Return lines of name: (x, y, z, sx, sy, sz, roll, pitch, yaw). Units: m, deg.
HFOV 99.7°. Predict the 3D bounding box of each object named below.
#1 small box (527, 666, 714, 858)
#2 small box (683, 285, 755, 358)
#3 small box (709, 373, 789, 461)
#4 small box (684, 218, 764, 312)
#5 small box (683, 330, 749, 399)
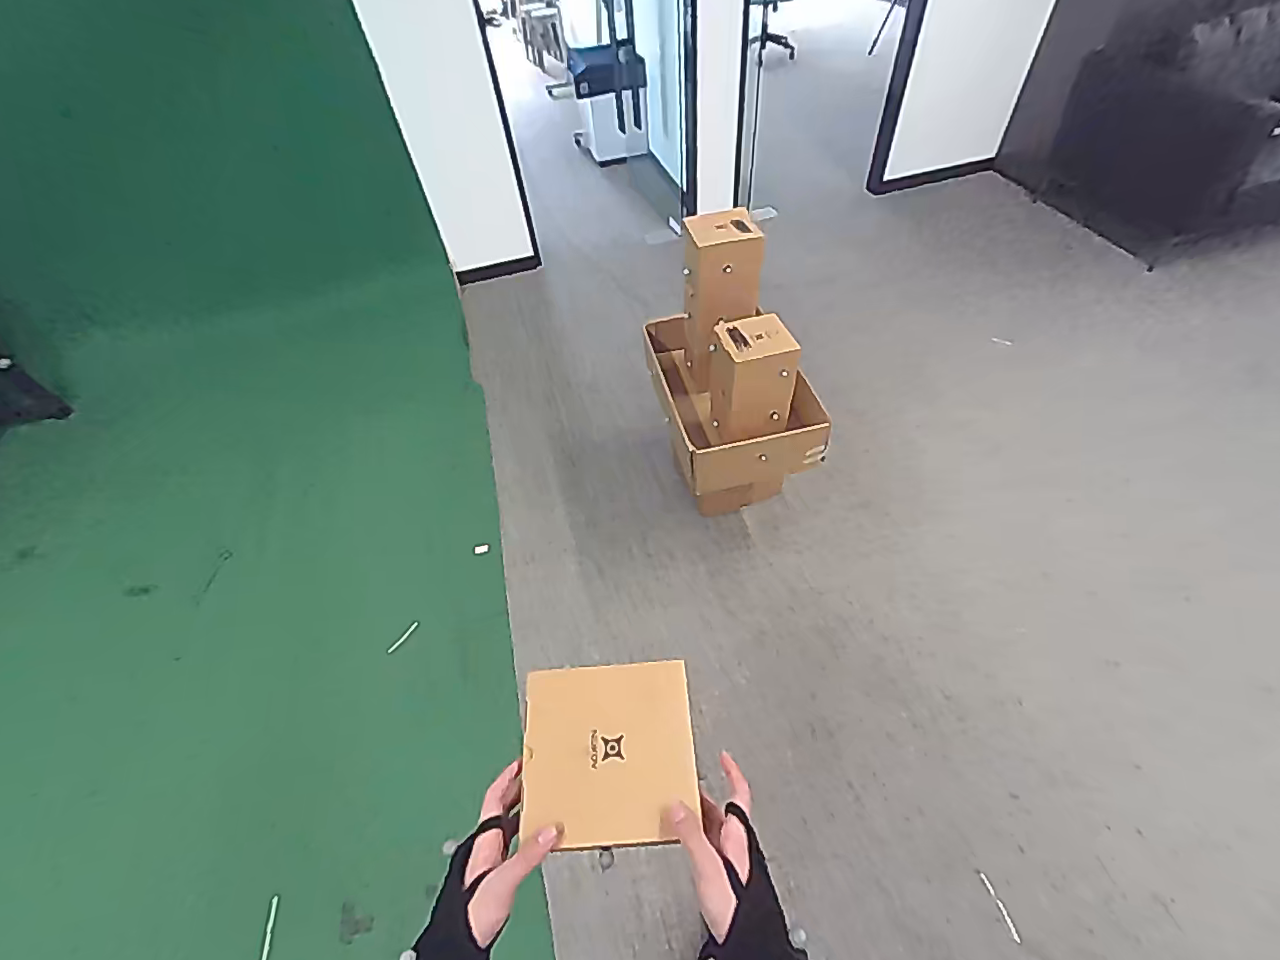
small box: (-0.020, 0.318, 0.609, 0.179, 0.176, 0.168, -5, 56, 0)
small box: (0.231, -0.484, 1.613, 0.179, 0.176, 0.168, -11, 52, -4)
small box: (0.308, -0.180, 1.561, 0.179, 0.176, 0.168, -13, 49, -6)
small box: (0.222, -0.589, 1.486, 0.179, 0.176, 0.168, -11, 51, -4)
small box: (0.239, -0.377, 1.738, 0.179, 0.176, 0.168, -9, 51, -4)
